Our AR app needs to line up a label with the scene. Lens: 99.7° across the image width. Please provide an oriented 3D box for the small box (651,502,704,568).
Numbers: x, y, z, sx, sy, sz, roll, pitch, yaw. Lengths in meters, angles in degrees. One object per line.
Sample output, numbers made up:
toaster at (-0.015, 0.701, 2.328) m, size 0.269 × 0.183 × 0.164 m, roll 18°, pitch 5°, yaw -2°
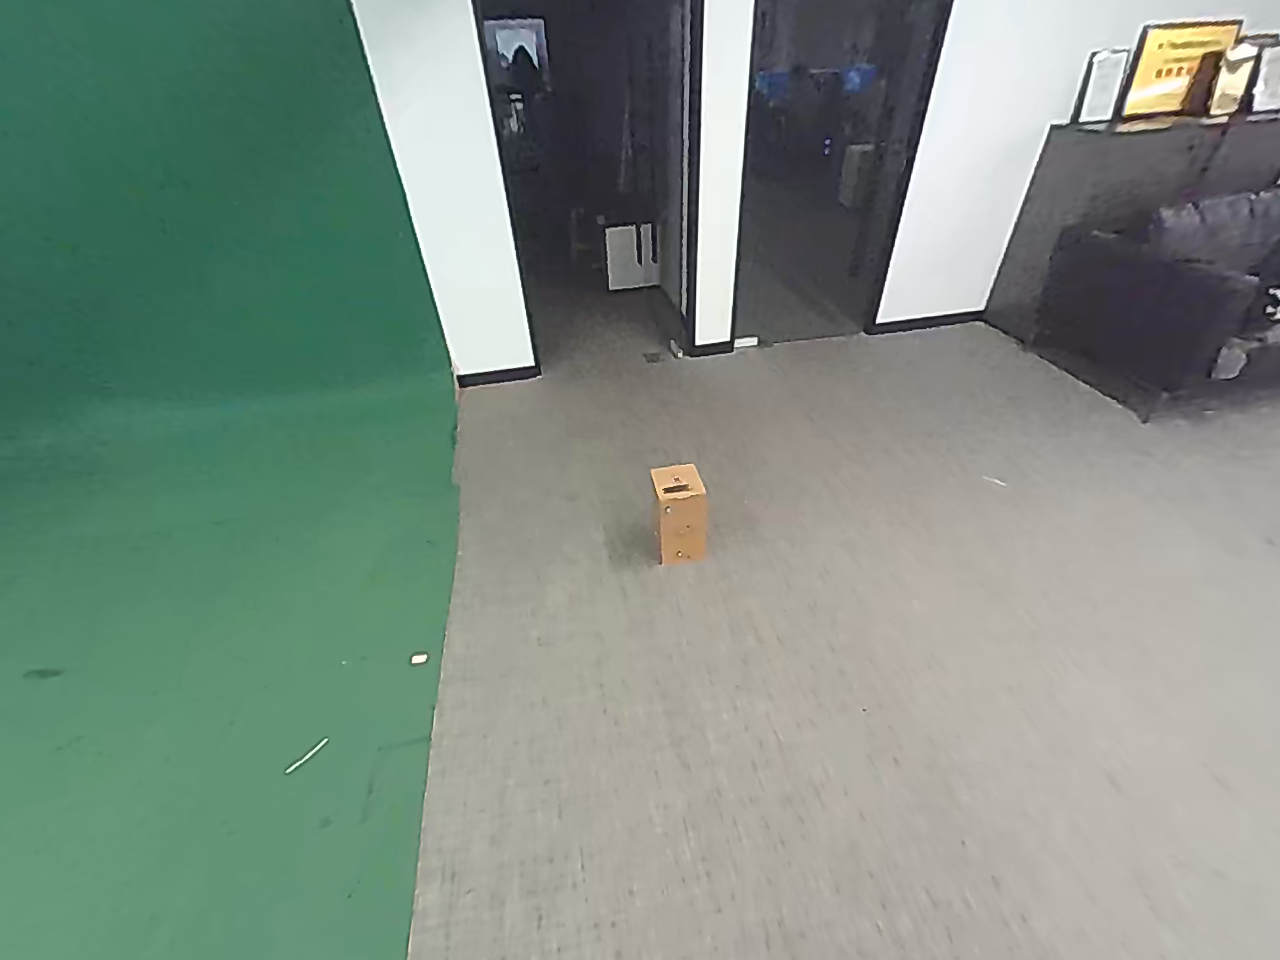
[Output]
small box at (0.137, 0.210, 2.062) m, size 0.168 × 0.176 × 0.179 m, roll -8°, pitch 39°, yaw -8°
